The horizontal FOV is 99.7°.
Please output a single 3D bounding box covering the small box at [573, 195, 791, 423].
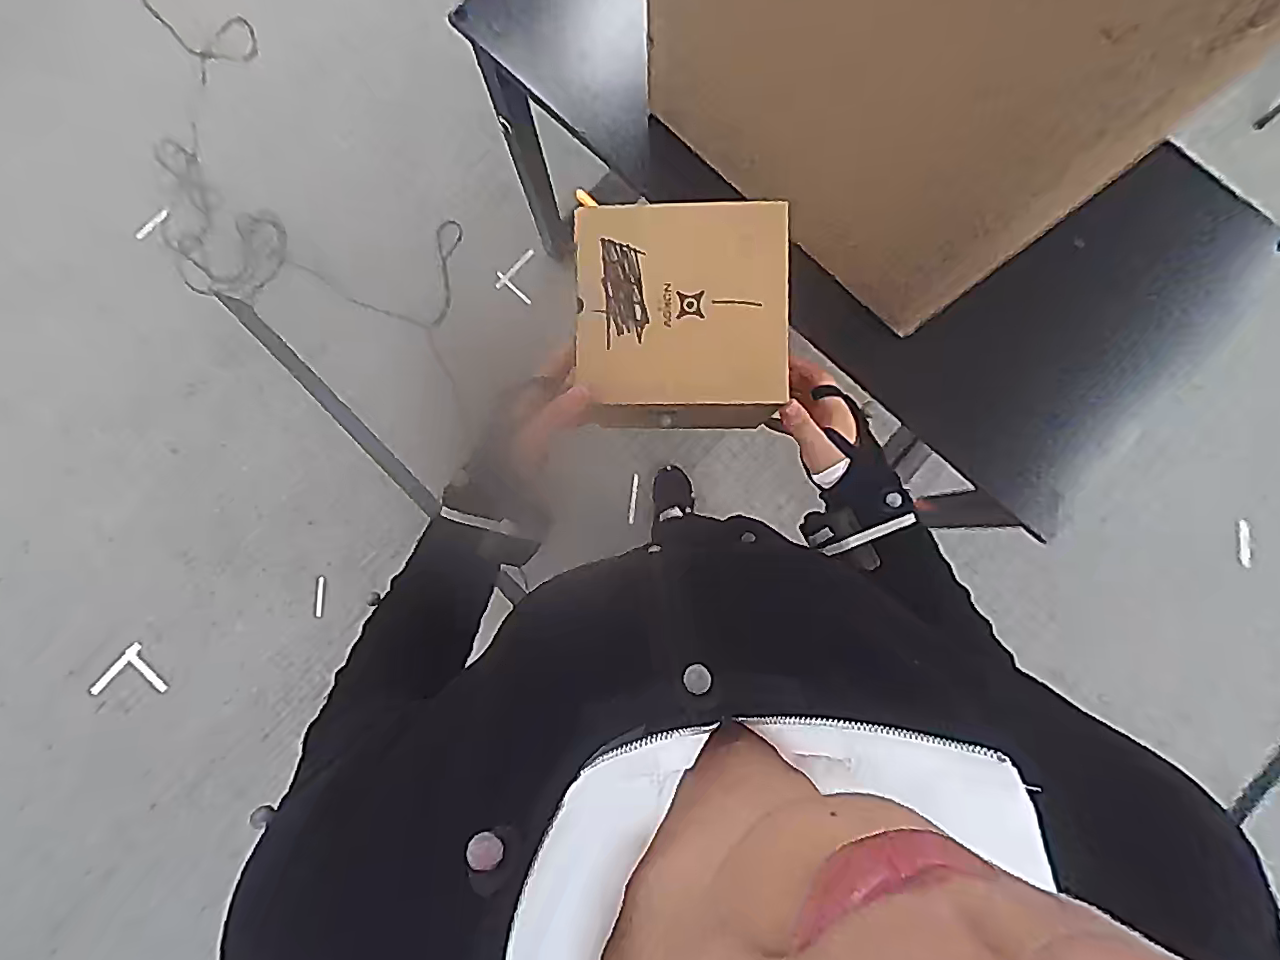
[{"bbox_3d":[0.037,-0.146,0.517,0.179,0.176,0.168,1,89,2],"label":"small box"}]
